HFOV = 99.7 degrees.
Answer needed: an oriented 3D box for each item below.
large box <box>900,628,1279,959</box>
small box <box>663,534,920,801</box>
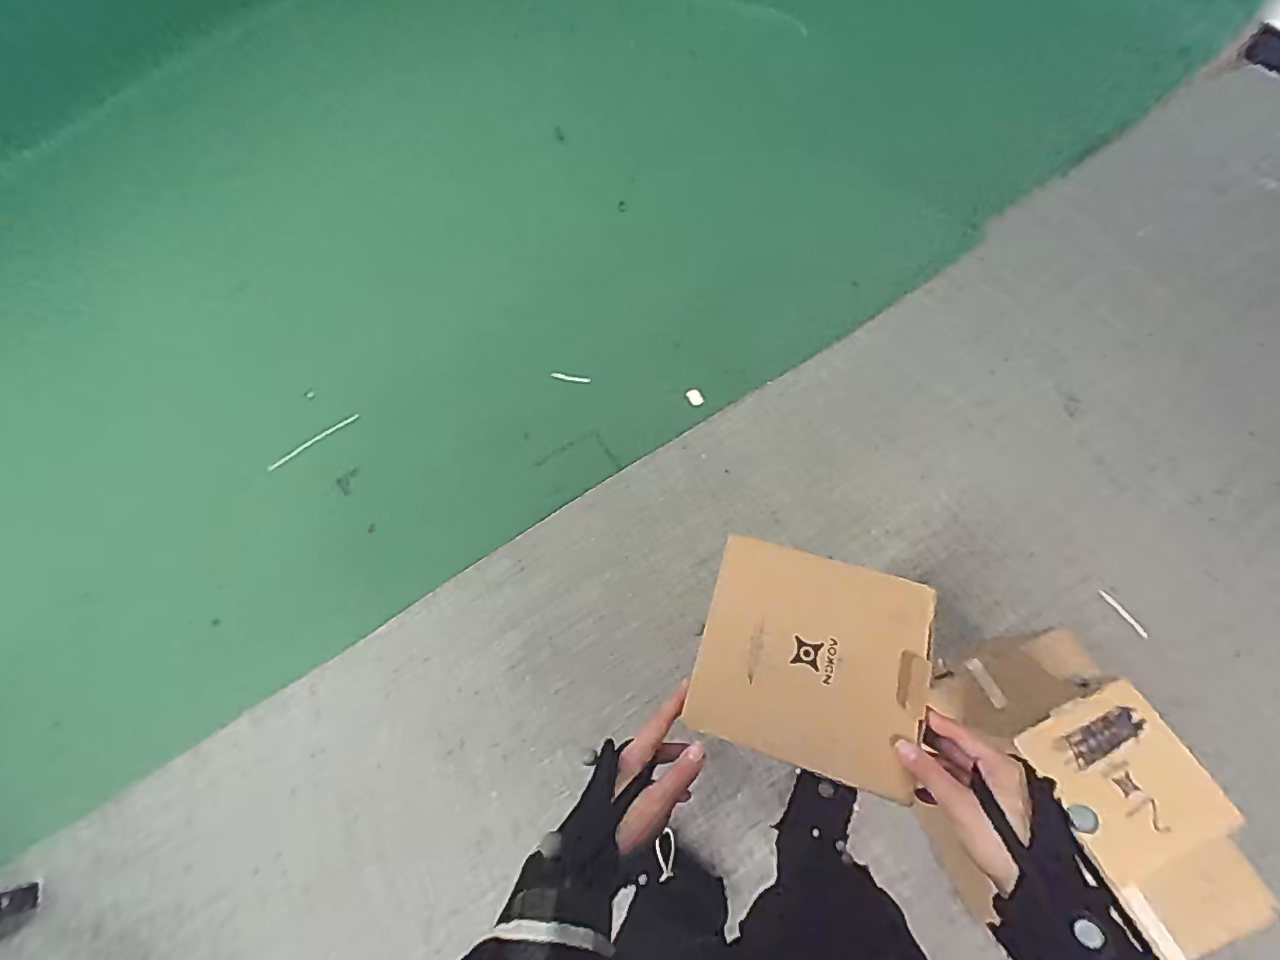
[{"bbox_3d":[0.639,0.511,0.910,0.320,0.320,0.408,-27,67,1],"label":"large box"},{"bbox_3d":[0.131,0.169,0.500,0.179,0.176,0.168,12,68,13],"label":"small box"}]
